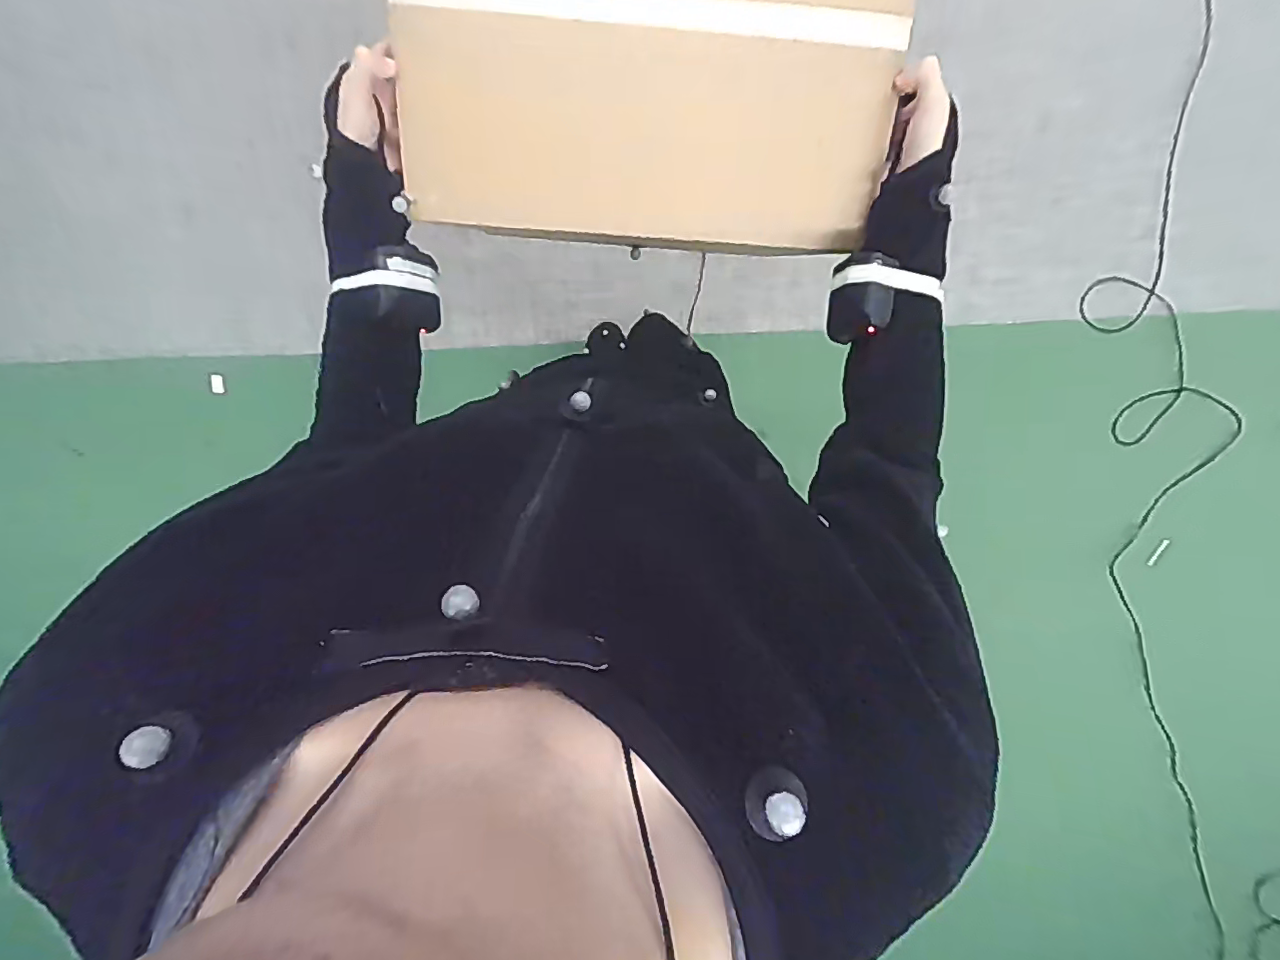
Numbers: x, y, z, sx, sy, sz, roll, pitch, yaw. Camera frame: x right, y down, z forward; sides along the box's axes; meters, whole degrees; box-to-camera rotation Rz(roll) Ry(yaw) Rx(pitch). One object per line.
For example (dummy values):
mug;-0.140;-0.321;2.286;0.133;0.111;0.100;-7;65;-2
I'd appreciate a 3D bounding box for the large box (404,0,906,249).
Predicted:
large box;0.009;-0.420;0.569;0.408;0.320;0.320;3;111;-3
